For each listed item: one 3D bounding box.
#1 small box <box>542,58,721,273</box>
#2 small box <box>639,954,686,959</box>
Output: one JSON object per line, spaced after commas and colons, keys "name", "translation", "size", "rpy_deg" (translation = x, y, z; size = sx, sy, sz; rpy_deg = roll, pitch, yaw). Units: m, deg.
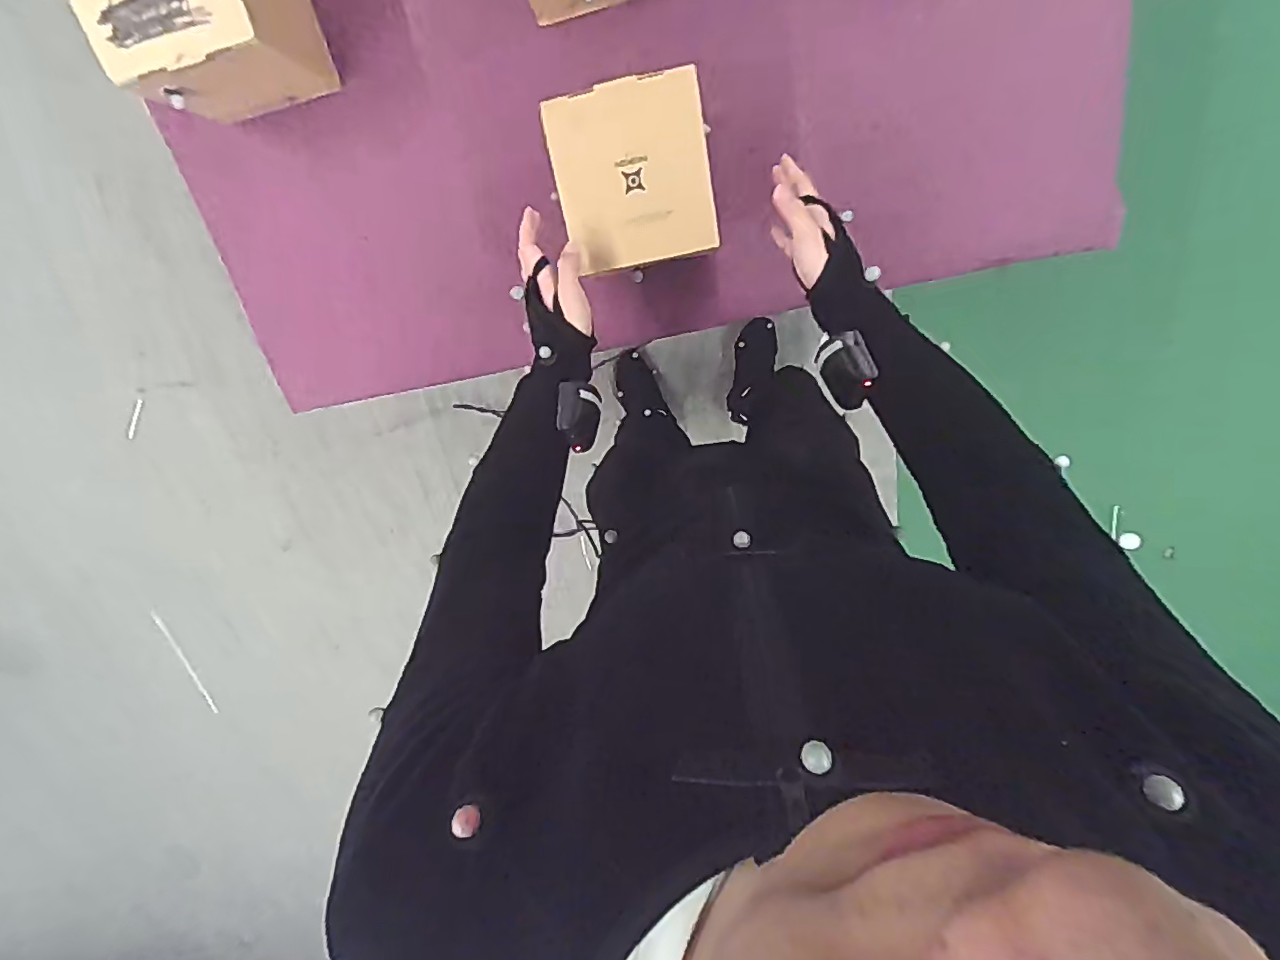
{"name": "small box", "translation": [-0.005, -0.352, 0.642], "size": [0.168, 0.176, 0.179], "rpy_deg": [-10, 110, 5]}
{"name": "small box", "translation": [0.077, 1.703, 1.771], "size": [0.168, 0.176, 0.179], "rpy_deg": [0, 111, 0]}
